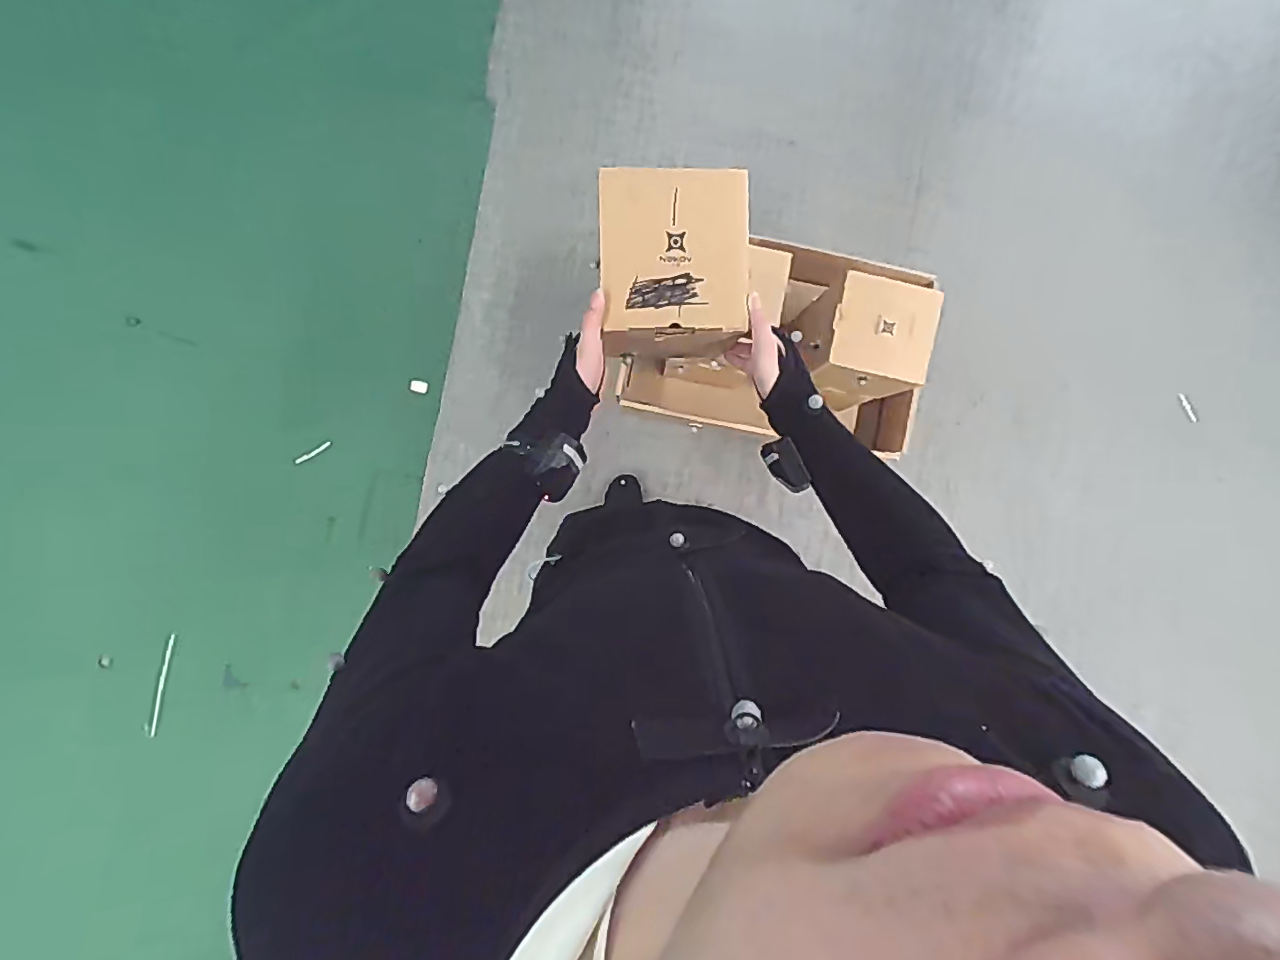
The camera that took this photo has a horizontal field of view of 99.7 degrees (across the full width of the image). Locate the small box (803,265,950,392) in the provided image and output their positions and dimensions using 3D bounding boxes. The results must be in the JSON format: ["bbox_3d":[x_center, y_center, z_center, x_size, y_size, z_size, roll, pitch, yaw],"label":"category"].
[{"bbox_3d":[0.421,-0.267,0.993,0.179,0.176,0.168,13,91,-3],"label":"small box"}]

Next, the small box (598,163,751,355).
[{"bbox_3d":[0.034,-0.253,0.659,0.168,0.176,0.179,-1,91,-4],"label":"small box"}]

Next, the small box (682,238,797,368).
[{"bbox_3d":[0.165,-0.319,0.981,0.168,0.176,0.179,11,89,-2],"label":"small box"}]
